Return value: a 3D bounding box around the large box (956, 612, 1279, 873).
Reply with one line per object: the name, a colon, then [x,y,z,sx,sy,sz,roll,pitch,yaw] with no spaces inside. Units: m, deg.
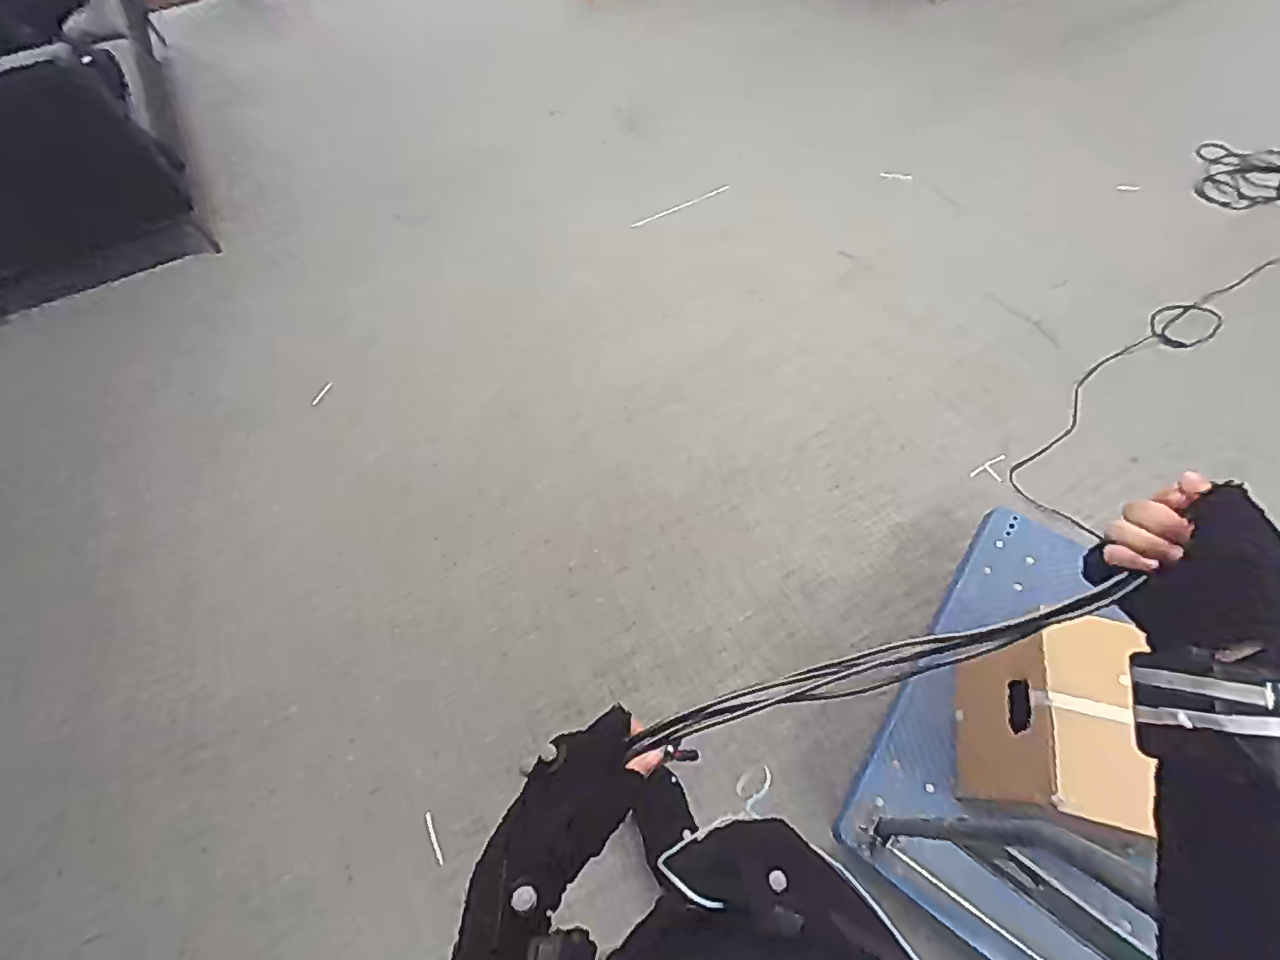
large box: [0.843,0.460,0.960,0.408,0.320,0.320,10,61,10]
